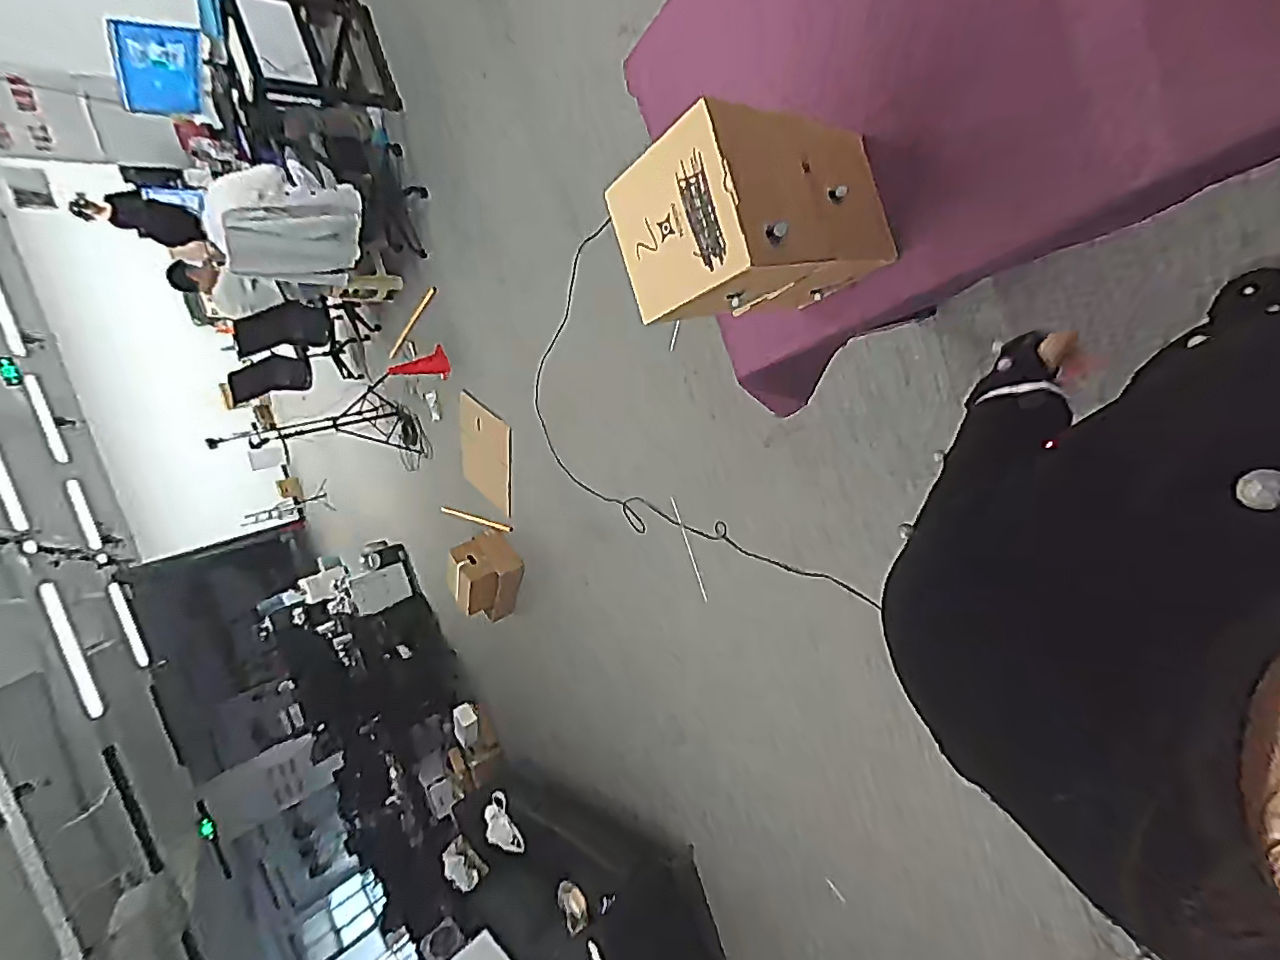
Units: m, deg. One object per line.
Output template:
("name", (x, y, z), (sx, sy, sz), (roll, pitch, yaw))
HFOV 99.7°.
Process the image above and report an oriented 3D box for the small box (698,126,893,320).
("small box", (0.215, -0.339, 0.742), (0.168, 0.176, 0.179), (-17, 94, 51))
